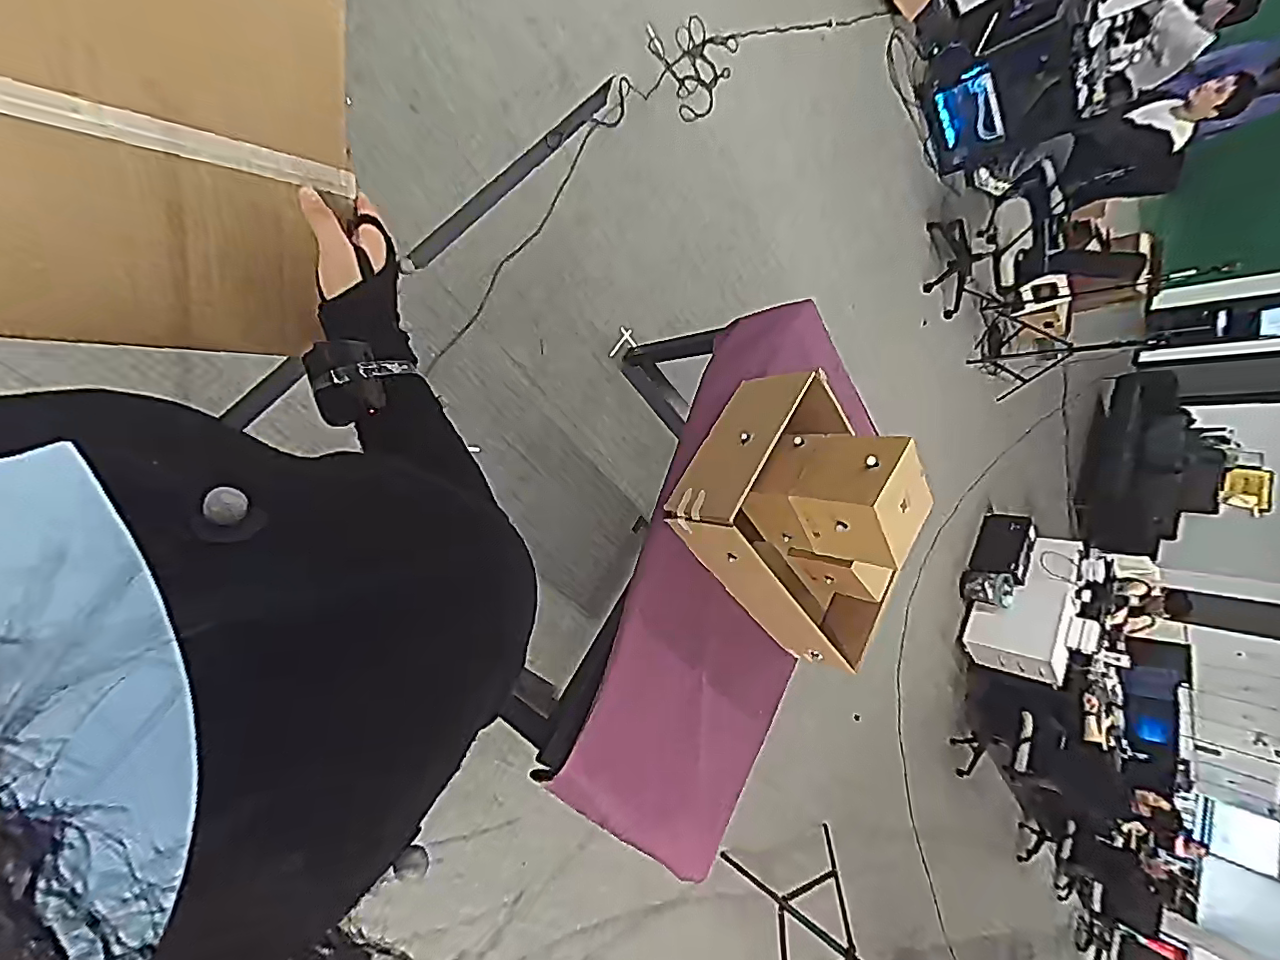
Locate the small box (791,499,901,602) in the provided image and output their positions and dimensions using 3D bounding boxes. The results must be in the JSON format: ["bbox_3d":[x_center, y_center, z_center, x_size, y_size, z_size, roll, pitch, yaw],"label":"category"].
[{"bbox_3d":[0.487,0.163,1.294,0.168,0.176,0.179,44,66,-33],"label":"small box"}]

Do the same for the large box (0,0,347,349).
[{"bbox_3d":[-0.504,-0.308,0.456,0.408,0.320,0.320,-6,114,-41],"label":"large box"}]
